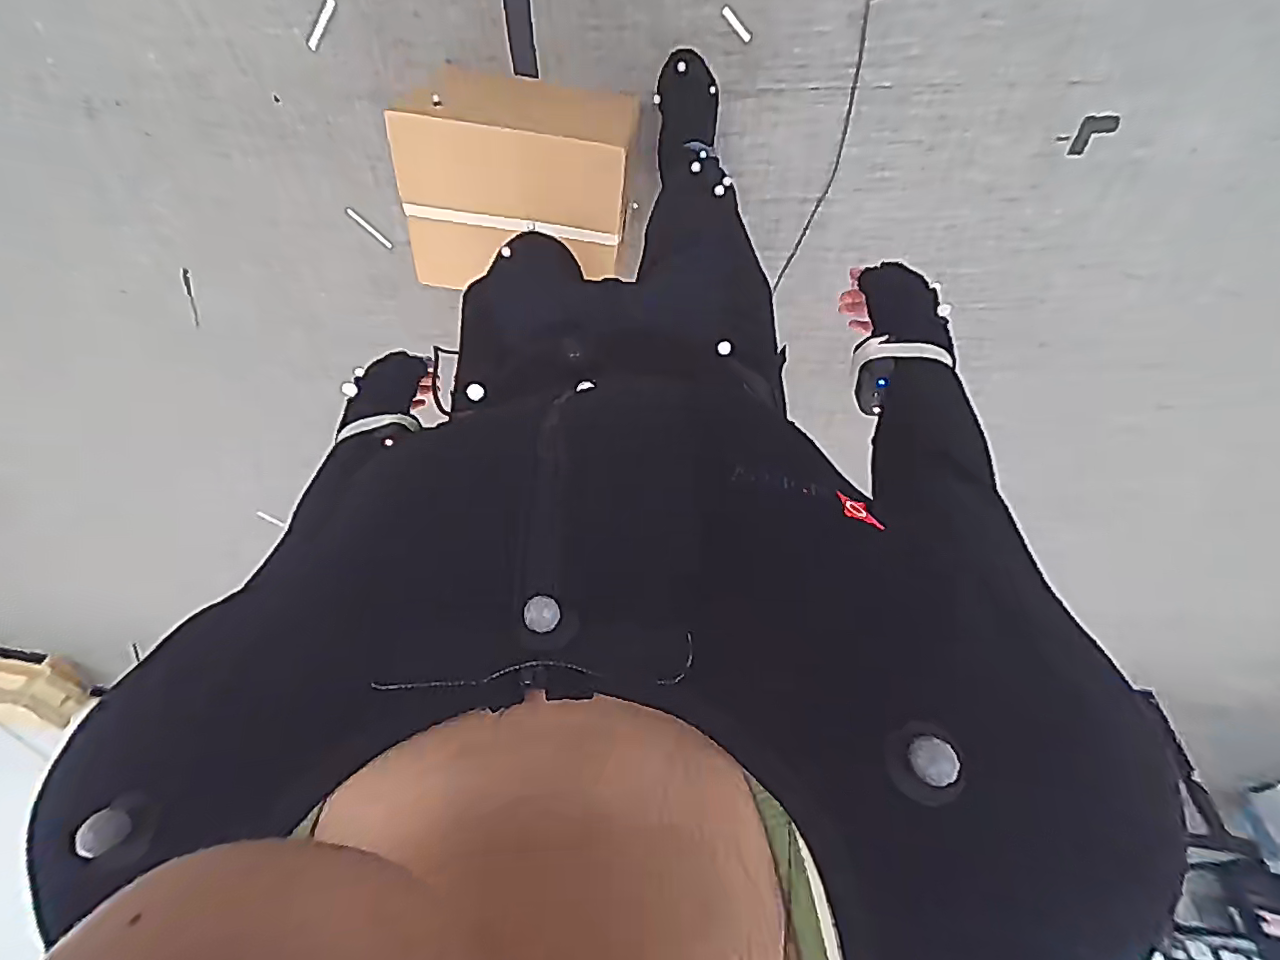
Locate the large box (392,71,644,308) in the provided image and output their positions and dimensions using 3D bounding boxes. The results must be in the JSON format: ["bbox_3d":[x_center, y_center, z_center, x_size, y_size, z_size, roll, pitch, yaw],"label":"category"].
[{"bbox_3d":[-0.216,-0.590,1.100,0.408,0.320,0.320,8,140,-2],"label":"large box"}]
